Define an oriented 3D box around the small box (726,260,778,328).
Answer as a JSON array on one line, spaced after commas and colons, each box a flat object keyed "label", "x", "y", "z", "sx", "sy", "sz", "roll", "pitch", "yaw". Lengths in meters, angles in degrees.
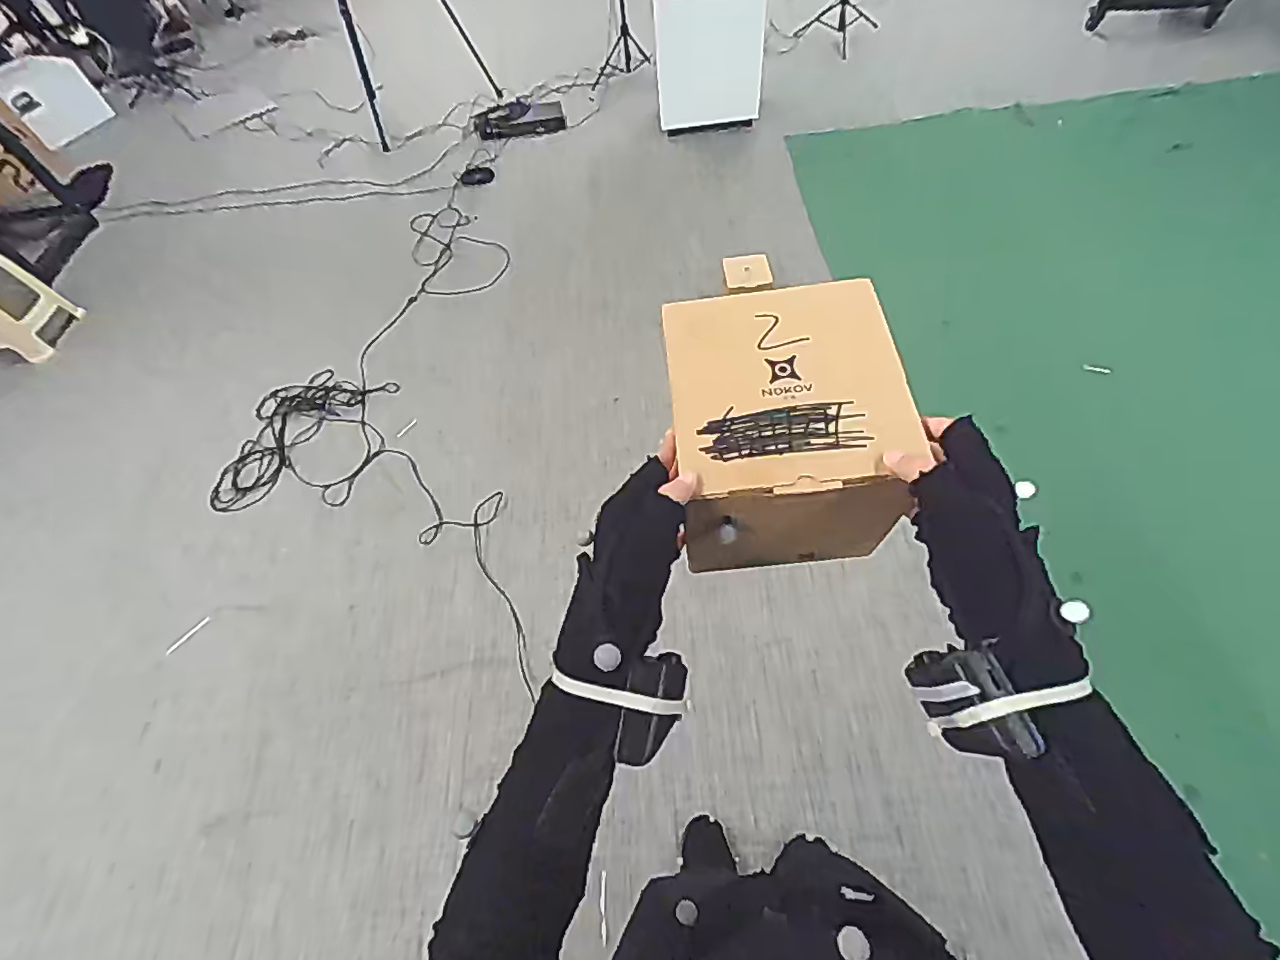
[{"label": "small box", "x": 0.423, "y": -0.708, "z": 2.066, "sx": 0.168, "sy": 0.176, "sz": 0.179, "roll": -6, "pitch": 57, "yaw": 4}]
